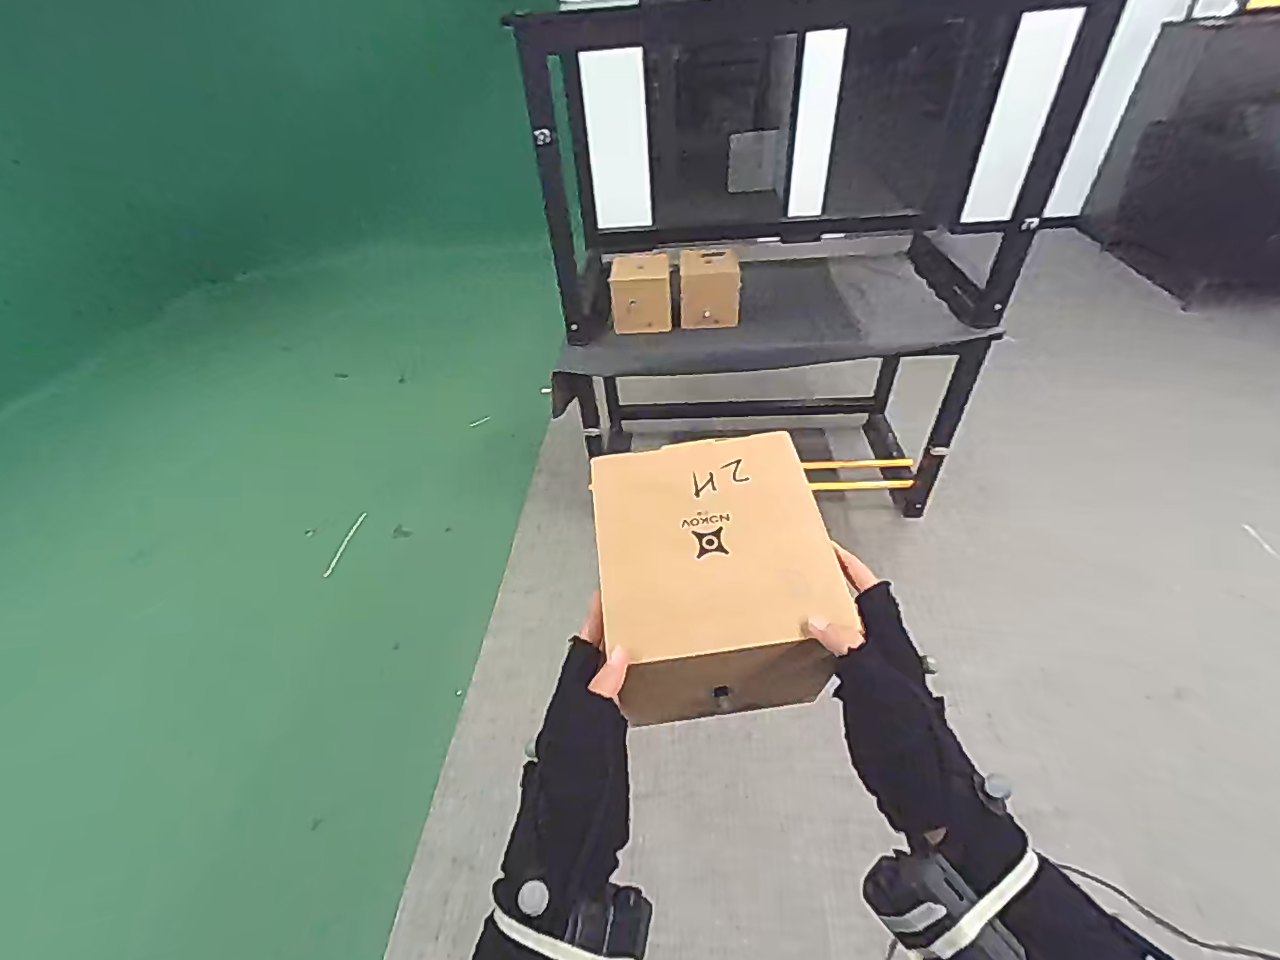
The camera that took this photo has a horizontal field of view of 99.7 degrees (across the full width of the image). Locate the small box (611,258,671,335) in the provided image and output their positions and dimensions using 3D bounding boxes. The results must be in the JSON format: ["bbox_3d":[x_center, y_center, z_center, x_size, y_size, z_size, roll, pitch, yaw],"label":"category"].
[{"bbox_3d":[0.008,-0.542,1.608,0.168,0.176,0.179,-2,42,4],"label":"small box"}]

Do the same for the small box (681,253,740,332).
[{"bbox_3d":[0.204,-0.556,1.602,0.168,0.176,0.179,-2,43,5],"label":"small box"}]
